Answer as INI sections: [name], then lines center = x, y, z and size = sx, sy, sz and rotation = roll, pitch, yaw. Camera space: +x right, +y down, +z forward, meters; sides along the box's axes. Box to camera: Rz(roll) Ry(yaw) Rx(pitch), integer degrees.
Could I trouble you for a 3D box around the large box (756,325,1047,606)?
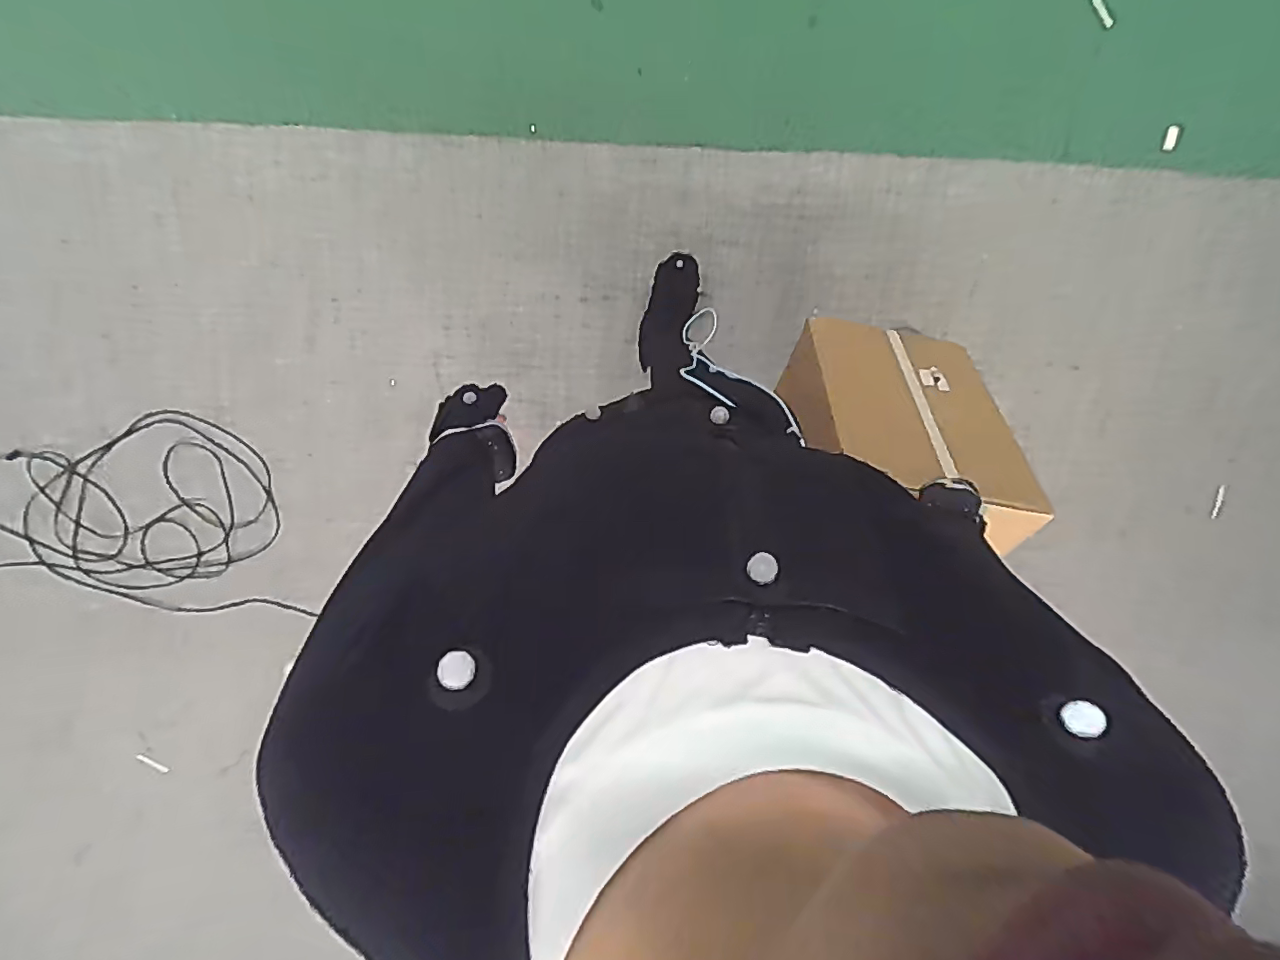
[large box]
center = 0.423, -0.025, 1.004
size = 0.320, 0.408, 0.320
rotation = 9, 138, -6
